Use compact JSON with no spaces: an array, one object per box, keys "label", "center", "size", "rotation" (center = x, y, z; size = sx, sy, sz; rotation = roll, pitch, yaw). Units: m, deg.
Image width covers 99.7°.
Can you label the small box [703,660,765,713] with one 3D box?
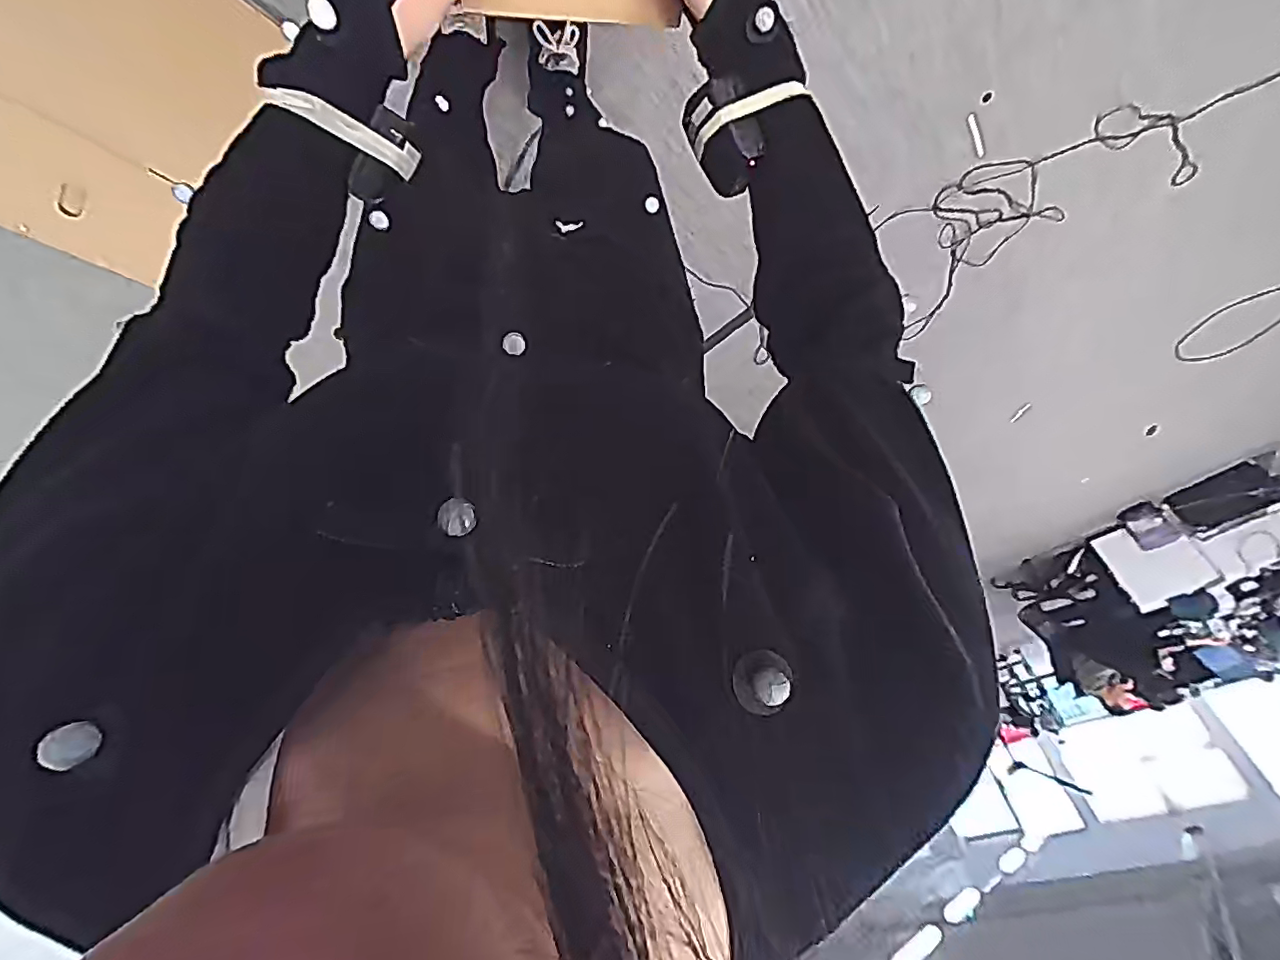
[{"label":"small box","center":[0.393,0.873,2.283],"size":[0.179,0.176,0.168],"rotation":[-33,141,27]}]

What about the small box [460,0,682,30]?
[{"label":"small box","center":[-0.054,-0.458,0.381],"size":[0.168,0.176,0.179],"rotation":[-6,144,-12]}]
